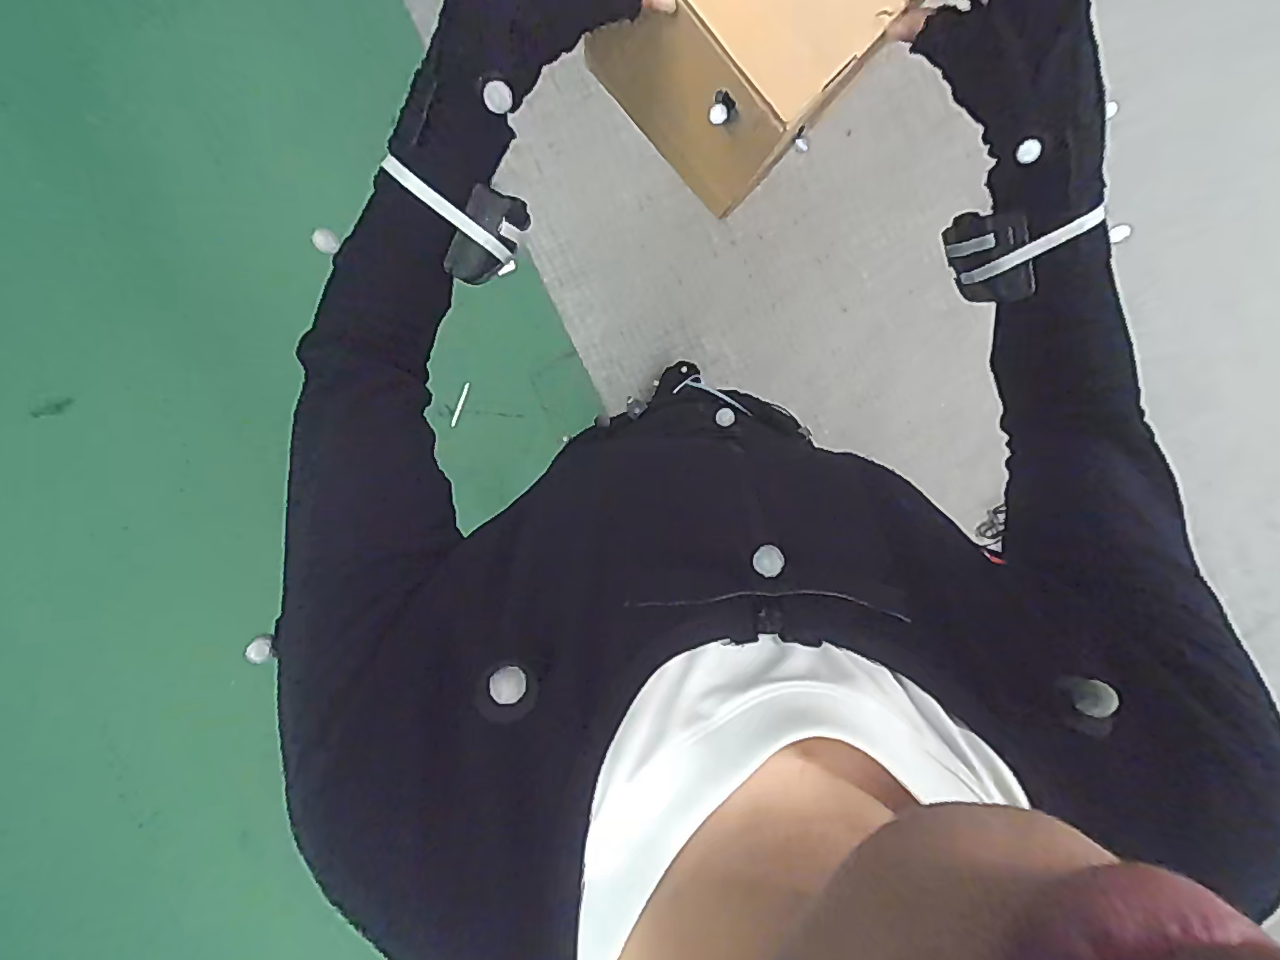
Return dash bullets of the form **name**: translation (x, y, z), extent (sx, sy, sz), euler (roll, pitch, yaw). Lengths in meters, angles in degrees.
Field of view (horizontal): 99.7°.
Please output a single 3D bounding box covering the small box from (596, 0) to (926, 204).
- **small box**: translation (0.080, -0.344, 0.393), extent (0.168, 0.176, 0.179), euler (-45, 100, 2)
